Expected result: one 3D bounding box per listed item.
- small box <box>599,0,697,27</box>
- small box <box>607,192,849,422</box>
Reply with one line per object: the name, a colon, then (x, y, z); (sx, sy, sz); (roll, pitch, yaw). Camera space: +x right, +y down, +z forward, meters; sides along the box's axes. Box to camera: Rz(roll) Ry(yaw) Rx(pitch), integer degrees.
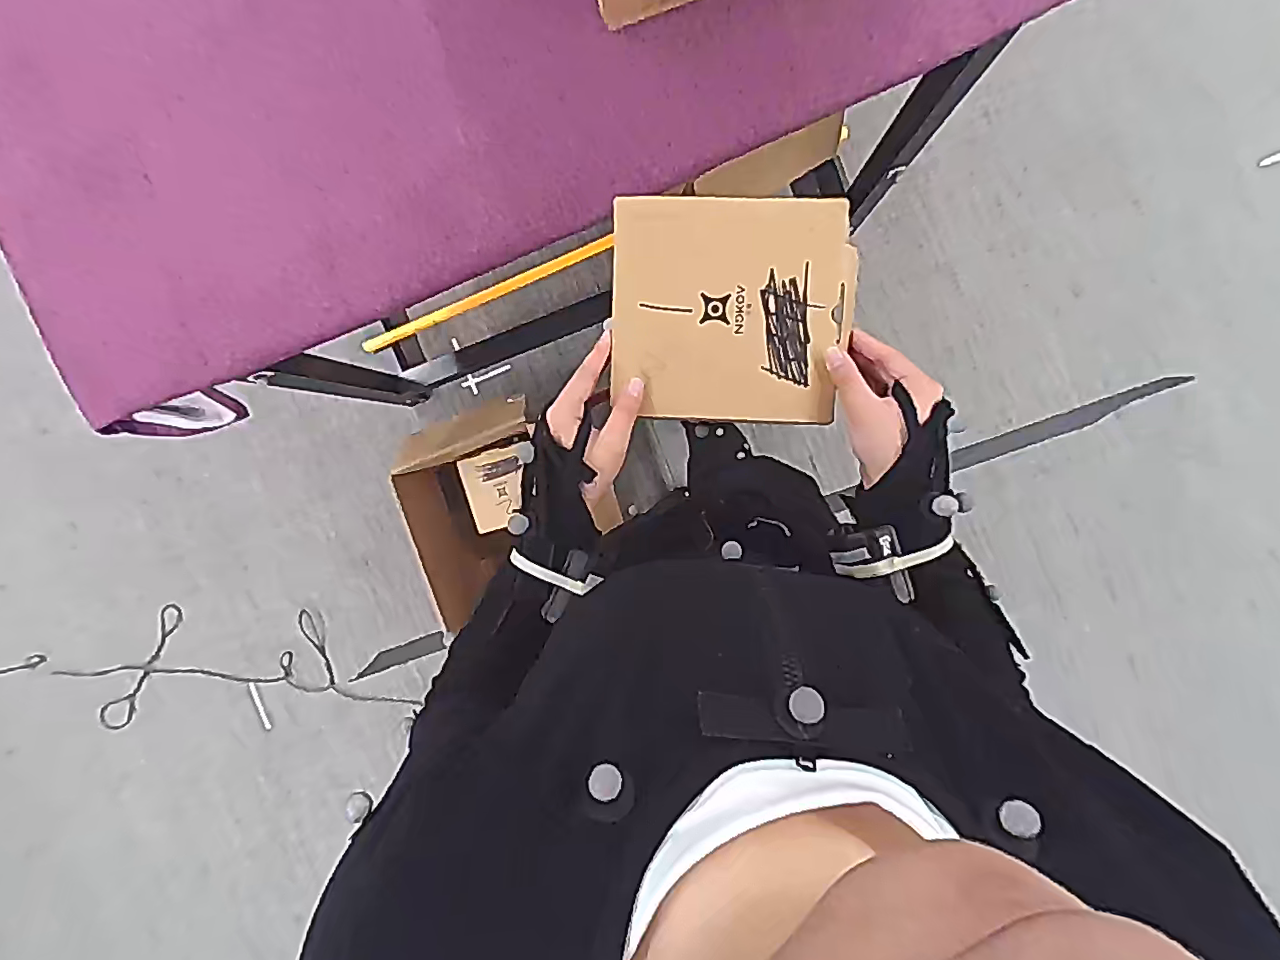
small box: (0.010, -0.605, 0.519); (0.168, 0.176, 0.179); (-17, 91, 5)
small box: (0.068, -0.139, 0.487); (0.179, 0.176, 0.168); (2, 96, 3)
